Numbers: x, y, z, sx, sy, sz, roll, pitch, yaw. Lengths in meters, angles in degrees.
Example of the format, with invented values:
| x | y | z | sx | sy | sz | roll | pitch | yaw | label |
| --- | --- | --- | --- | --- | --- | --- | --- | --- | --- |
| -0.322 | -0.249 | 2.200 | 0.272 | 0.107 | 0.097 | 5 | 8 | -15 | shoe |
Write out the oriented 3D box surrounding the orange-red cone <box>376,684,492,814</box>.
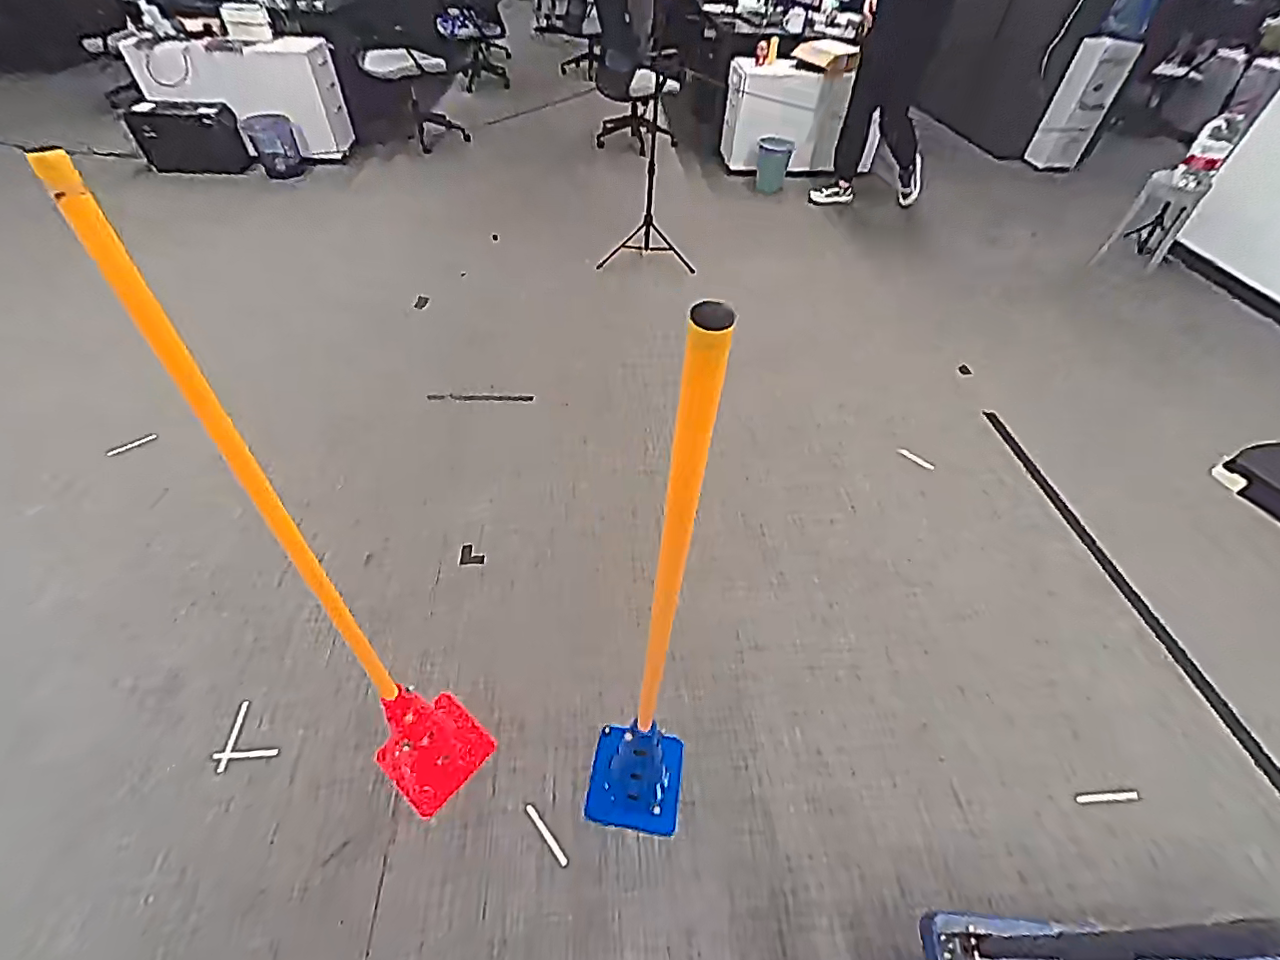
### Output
| x | y | z | sx | sy | sz | roll | pitch | yaw | label |
| --- | --- | --- | --- | --- | --- | --- | --- | --- | --- |
| -0.451 | 0.492 | 1.084 | 0.199 | 0.360 | 0.198 | 35 | 55 | 24 | orange-red cone |

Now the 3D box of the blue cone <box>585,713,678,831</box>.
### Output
| x | y | z | sx | sy | sz | roll | pitch | yaw | label |
| --- | --- | --- | --- | --- | --- | --- | --- | --- | --- |
| -0.011 | 0.550 | 1.077 | 0.192 | 0.380 | 0.193 | 9 | 48 | 6 | blue cone |
